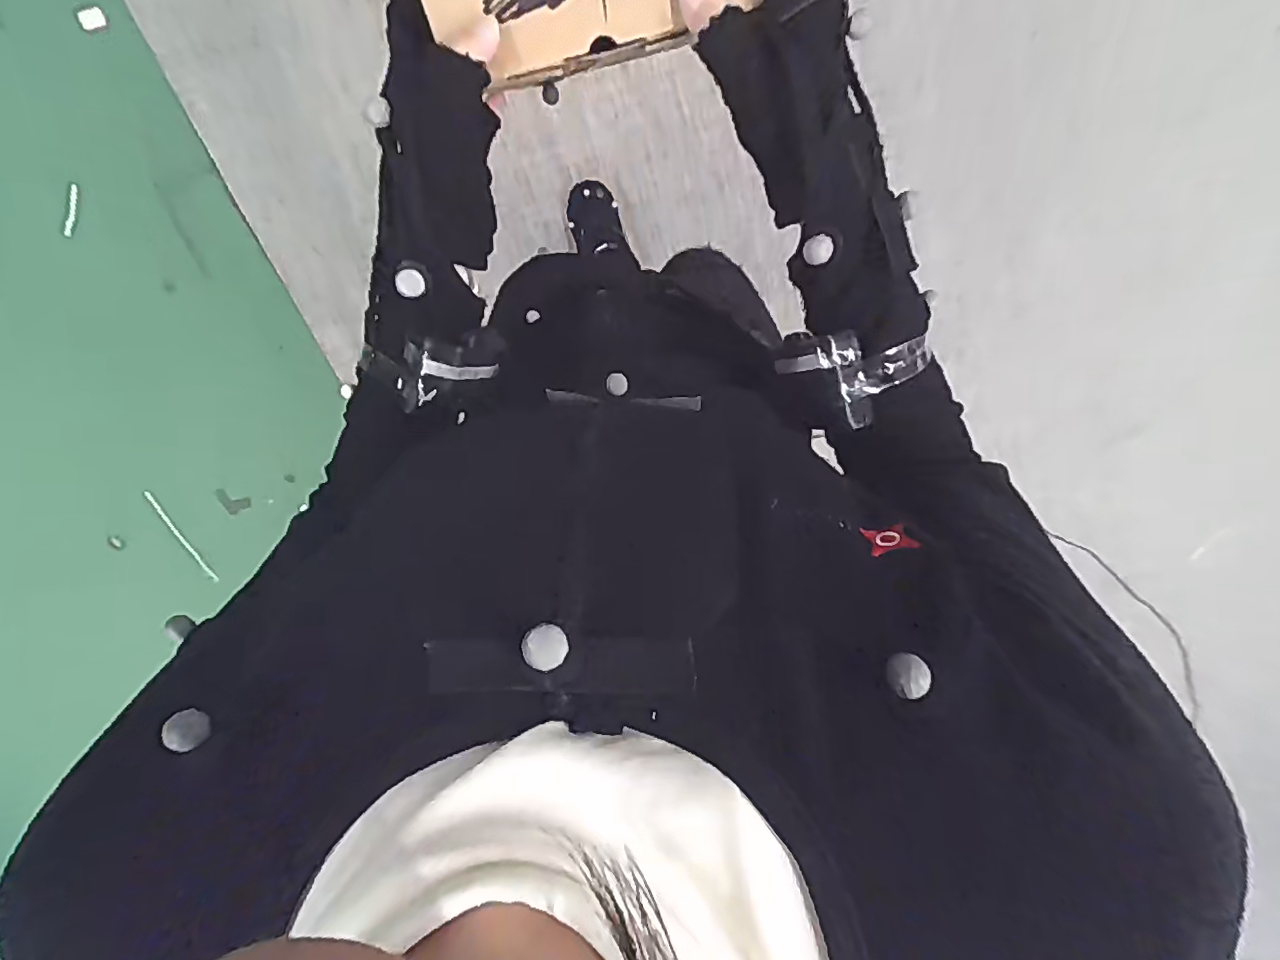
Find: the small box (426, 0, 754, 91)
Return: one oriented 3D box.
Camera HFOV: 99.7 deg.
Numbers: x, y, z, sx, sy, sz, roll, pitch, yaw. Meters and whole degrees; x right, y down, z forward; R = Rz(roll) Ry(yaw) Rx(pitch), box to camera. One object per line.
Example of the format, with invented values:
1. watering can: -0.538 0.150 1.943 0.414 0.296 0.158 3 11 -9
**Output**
1. small box: -0.035 -0.338 0.297 0.168 0.176 0.179 -9 125 7
